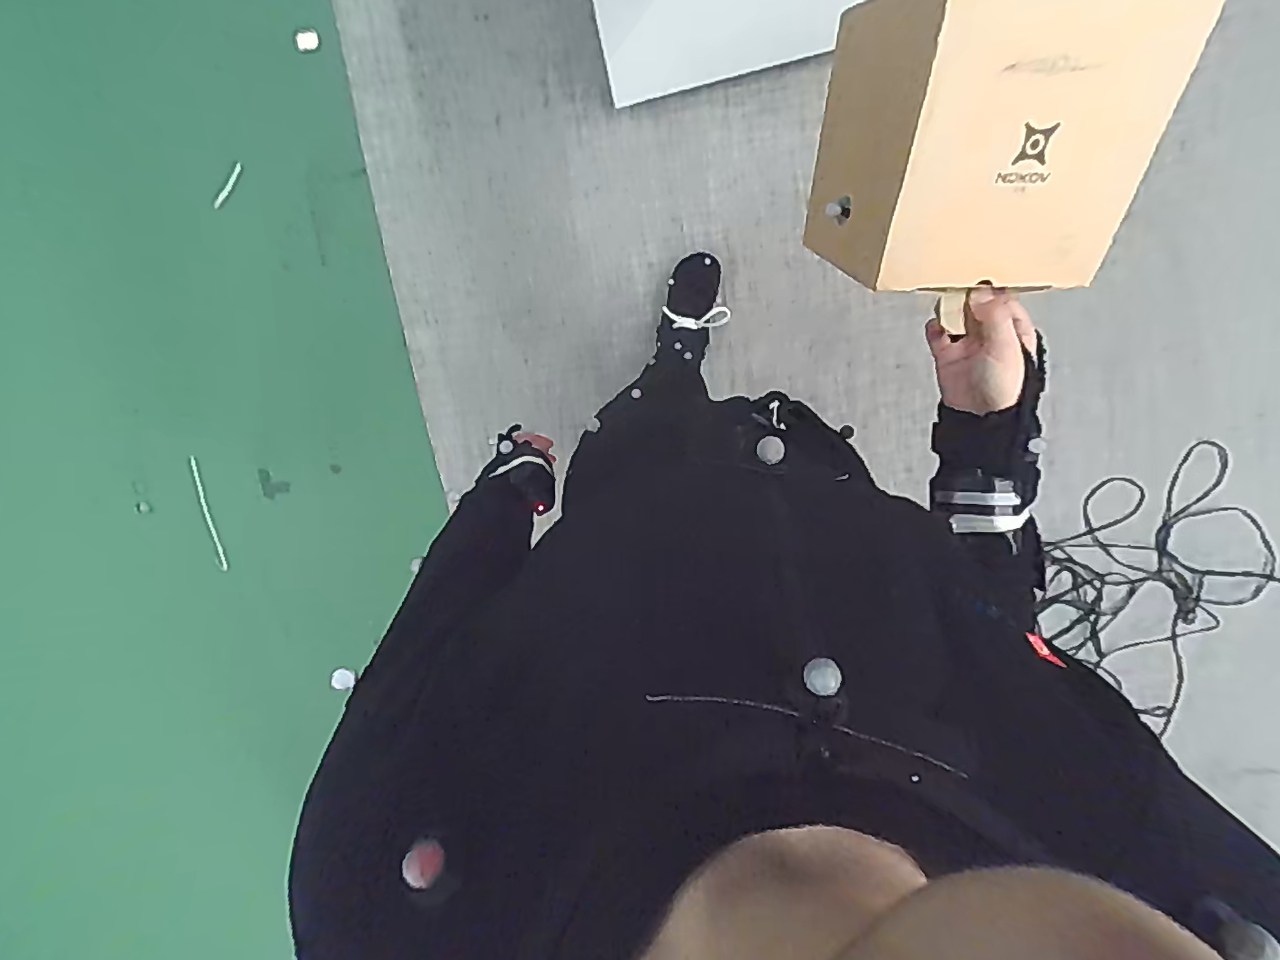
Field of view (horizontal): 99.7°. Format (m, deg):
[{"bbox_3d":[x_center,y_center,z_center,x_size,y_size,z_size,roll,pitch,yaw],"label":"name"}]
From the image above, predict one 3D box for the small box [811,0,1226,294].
[{"bbox_3d":[0.245,-0.253,0.412,0.168,0.176,0.179,-2,123,-4],"label":"small box"}]
